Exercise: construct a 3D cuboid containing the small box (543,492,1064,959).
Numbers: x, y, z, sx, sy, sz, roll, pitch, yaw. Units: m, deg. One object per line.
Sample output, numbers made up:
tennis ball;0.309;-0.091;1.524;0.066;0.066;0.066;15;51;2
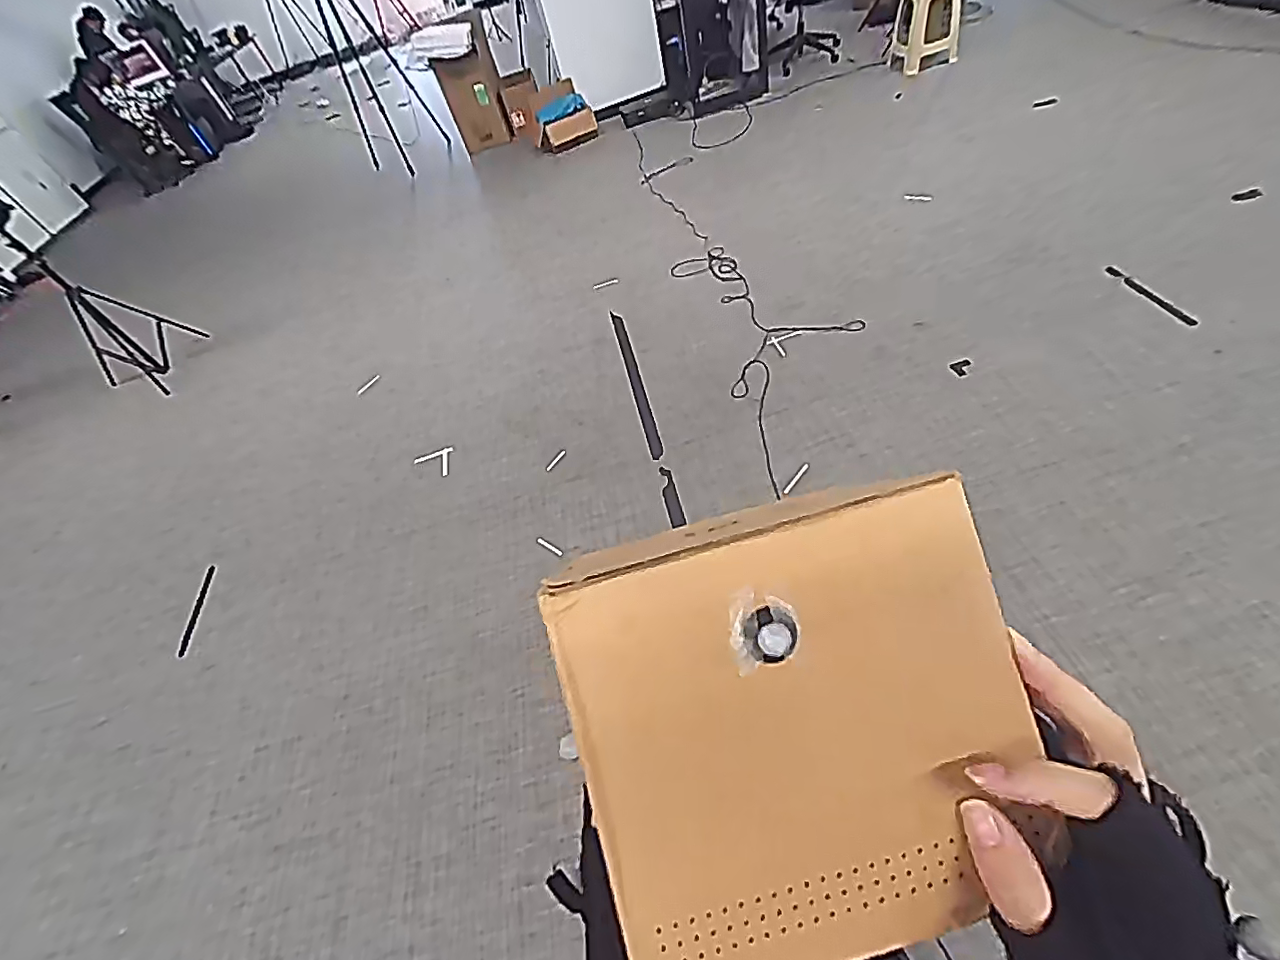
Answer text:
small box;0.066;0.114;0.286;0.179;0.168;0.176;-15;86;-2
